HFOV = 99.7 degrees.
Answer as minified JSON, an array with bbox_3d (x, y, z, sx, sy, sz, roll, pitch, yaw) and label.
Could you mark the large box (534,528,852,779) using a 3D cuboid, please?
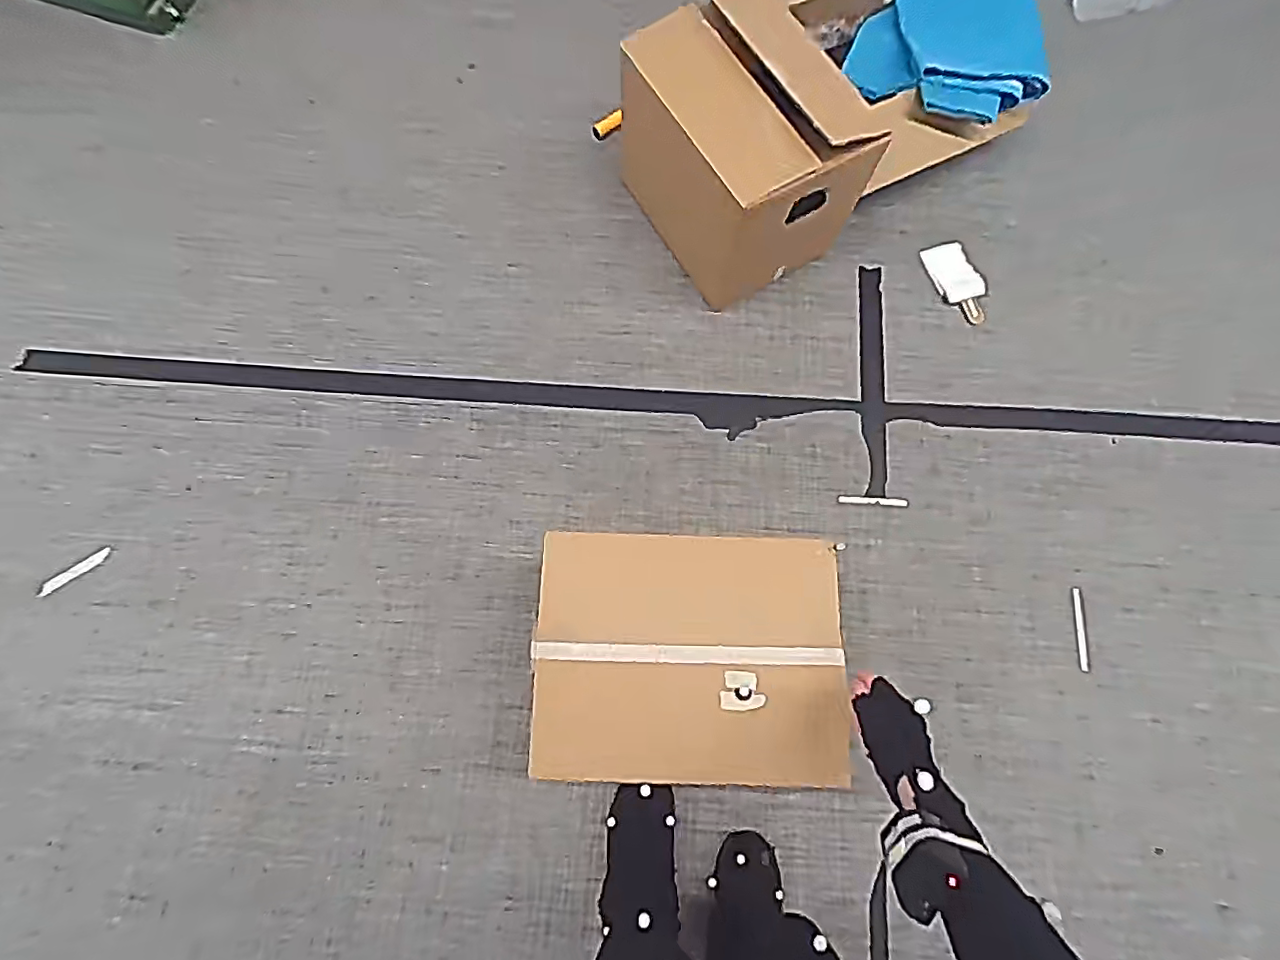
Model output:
[{"bbox_3d":[0.062,0.255,0.846,0.408,0.320,0.320,1,76,-1],"label":"large box"}]
